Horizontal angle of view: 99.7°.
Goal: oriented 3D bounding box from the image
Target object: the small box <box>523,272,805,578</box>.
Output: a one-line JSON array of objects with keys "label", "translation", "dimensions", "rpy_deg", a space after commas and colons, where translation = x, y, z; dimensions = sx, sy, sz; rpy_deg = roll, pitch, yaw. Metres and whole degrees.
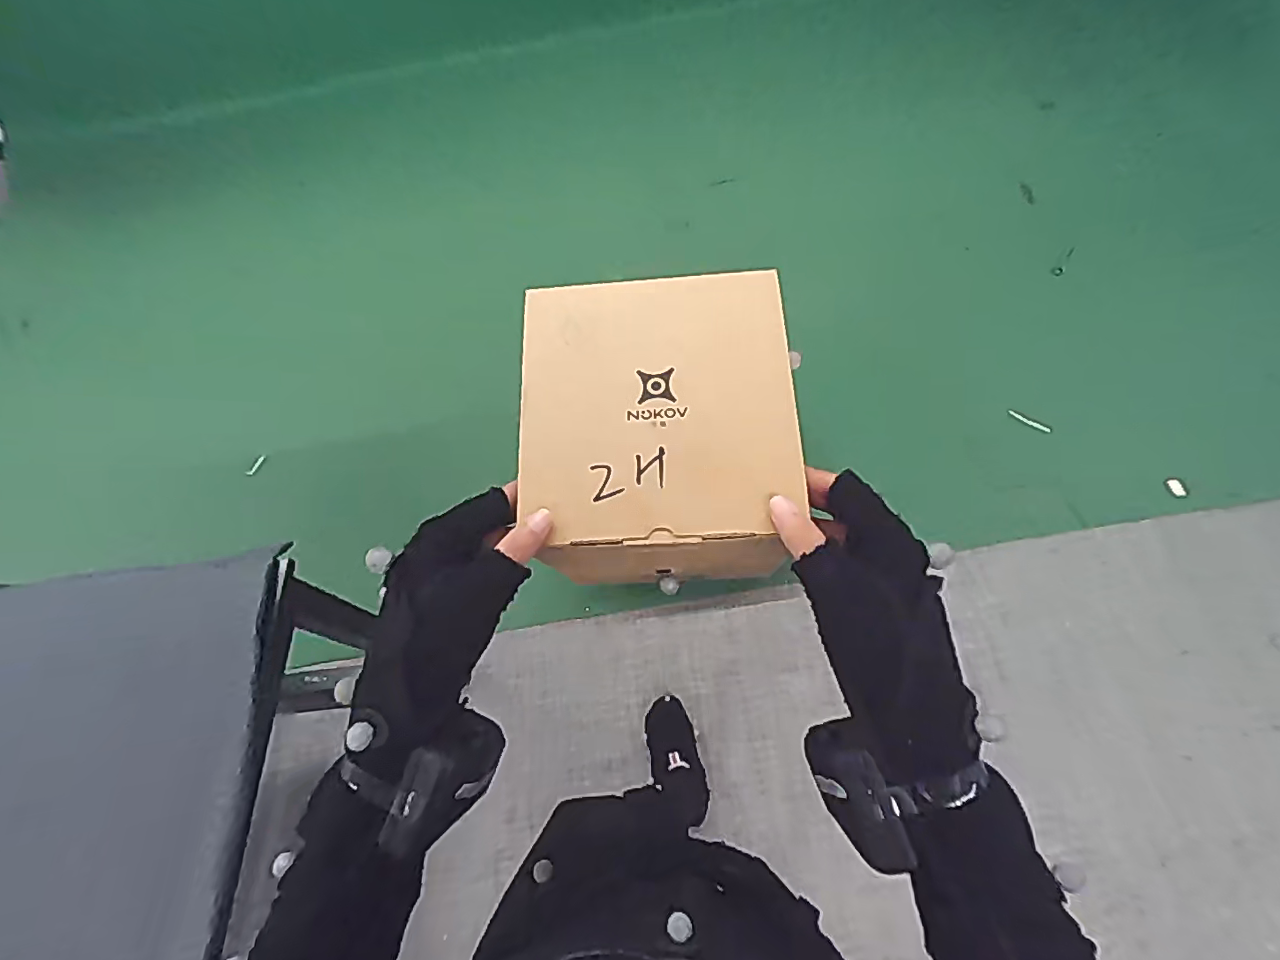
[{"label": "small box", "translation": [0.018, -0.028, 0.412], "dimensions": [0.168, 0.176, 0.179], "rpy_deg": [-3, 71, 4]}]
